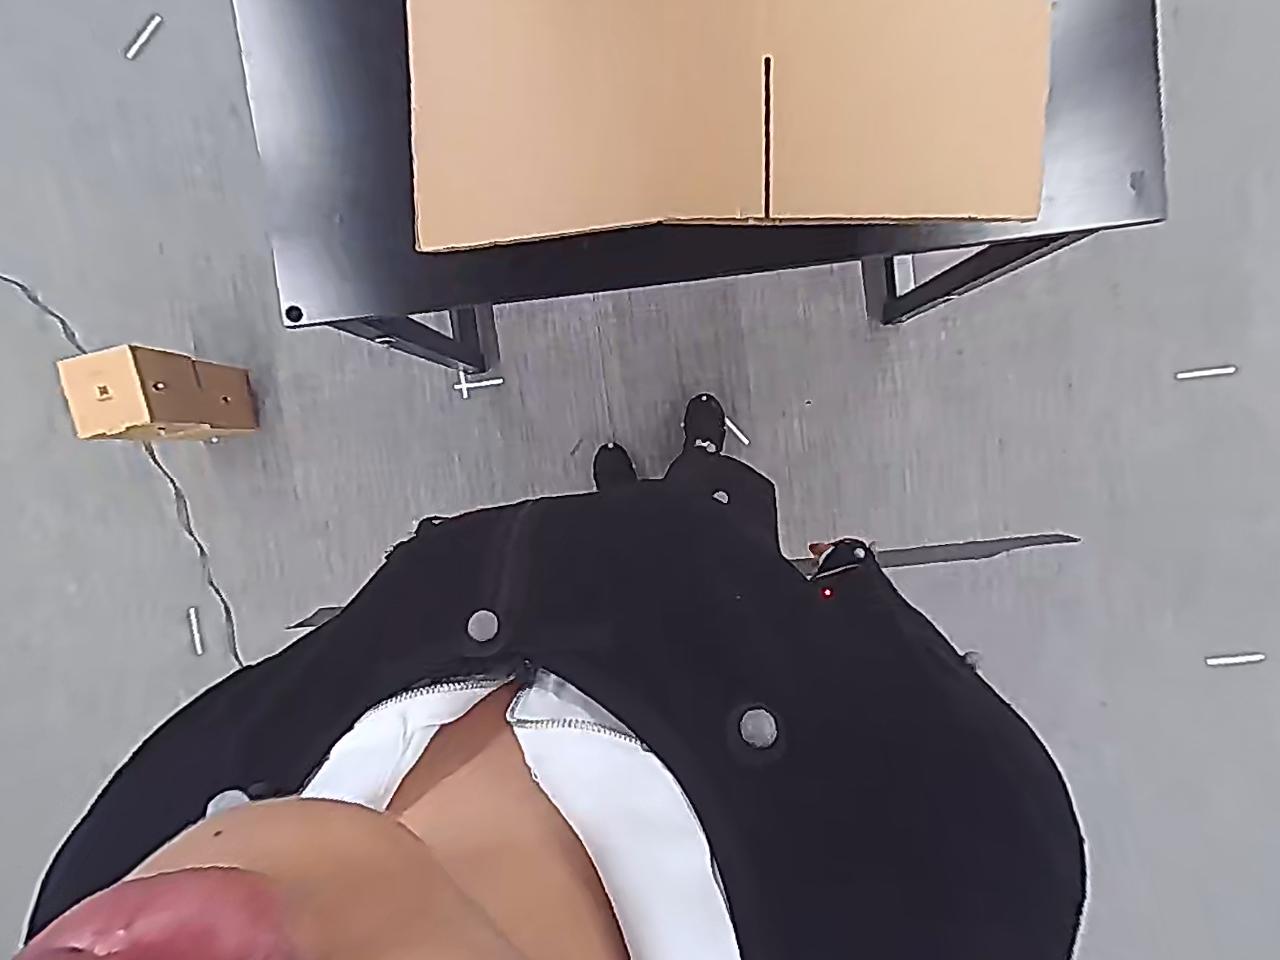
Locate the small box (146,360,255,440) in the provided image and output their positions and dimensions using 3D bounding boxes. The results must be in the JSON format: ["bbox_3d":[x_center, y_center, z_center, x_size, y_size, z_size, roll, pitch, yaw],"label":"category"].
[{"bbox_3d":[-1.156,-0.201,1.410,0.168,0.176,0.179,-10,95,2],"label":"small box"}]

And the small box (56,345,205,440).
[{"bbox_3d":[-1.160,-0.195,1.248,0.168,0.176,0.179,-14,93,1],"label":"small box"}]
